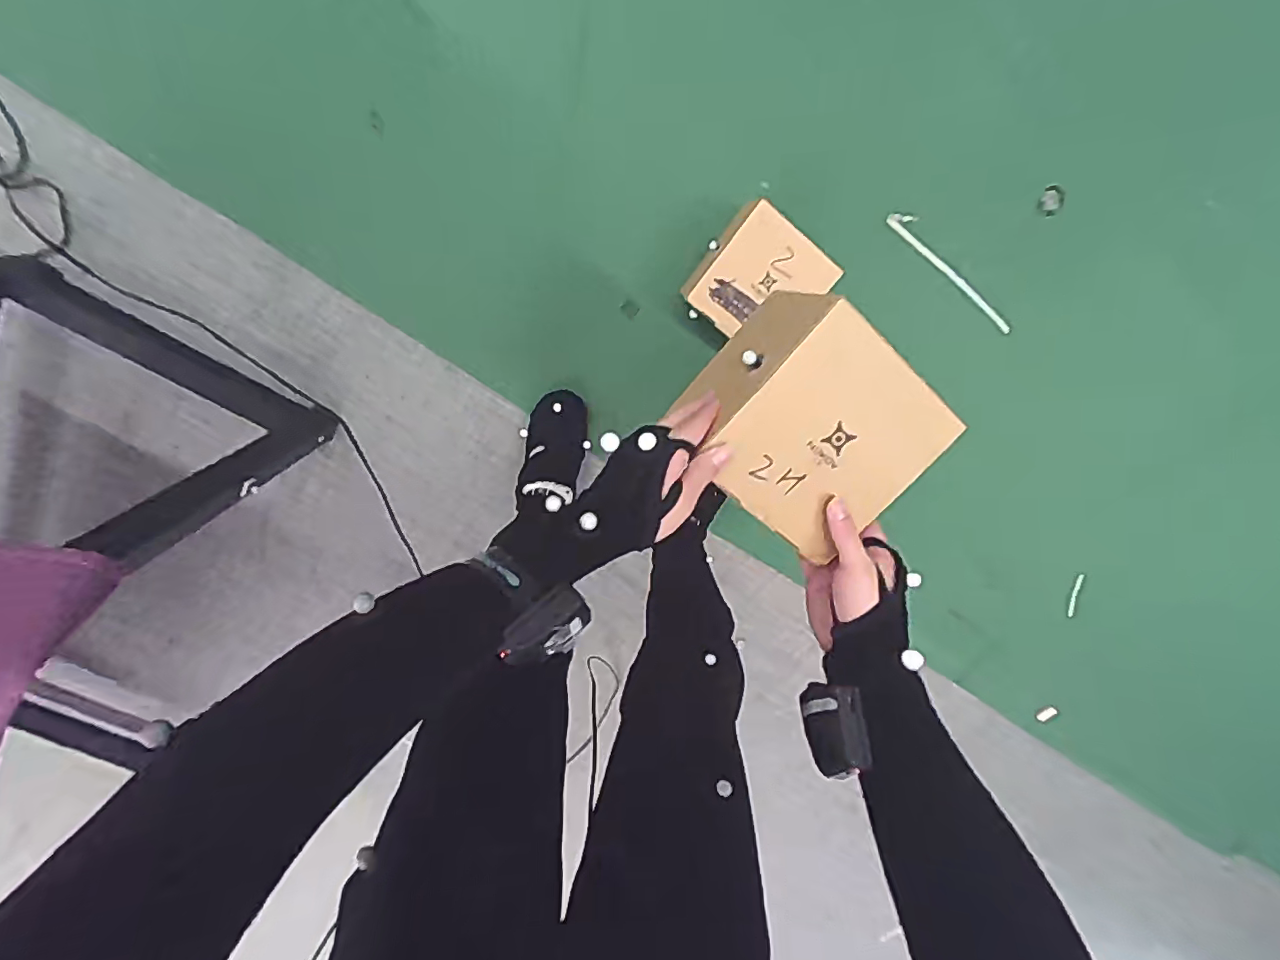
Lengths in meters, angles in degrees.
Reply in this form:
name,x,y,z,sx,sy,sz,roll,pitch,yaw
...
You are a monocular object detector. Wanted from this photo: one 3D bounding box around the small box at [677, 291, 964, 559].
name,x,y,z,sx,sy,sz,roll,pitch,yaw
small box,0.154,-0.065,0.527,0.168,0.176,0.179,38,104,-17
